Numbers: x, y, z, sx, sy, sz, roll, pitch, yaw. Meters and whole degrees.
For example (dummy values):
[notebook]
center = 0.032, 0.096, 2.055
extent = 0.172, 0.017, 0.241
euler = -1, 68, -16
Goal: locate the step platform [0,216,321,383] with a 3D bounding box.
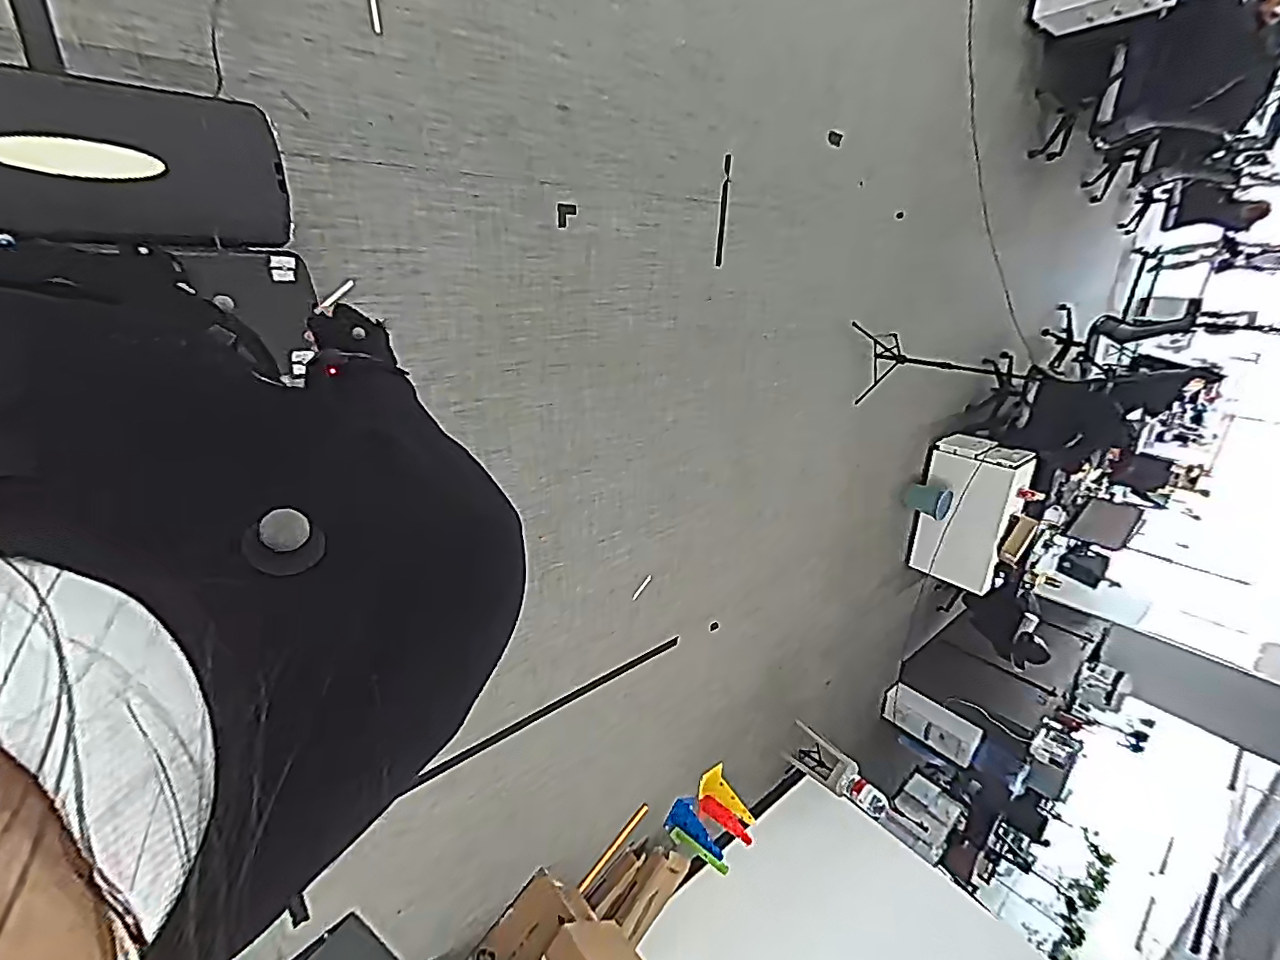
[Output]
[step platform]
center = -1.042, -0.368, 1.093
extent = 0.684, 0.204, 0.286
euler = -16, 117, -35
